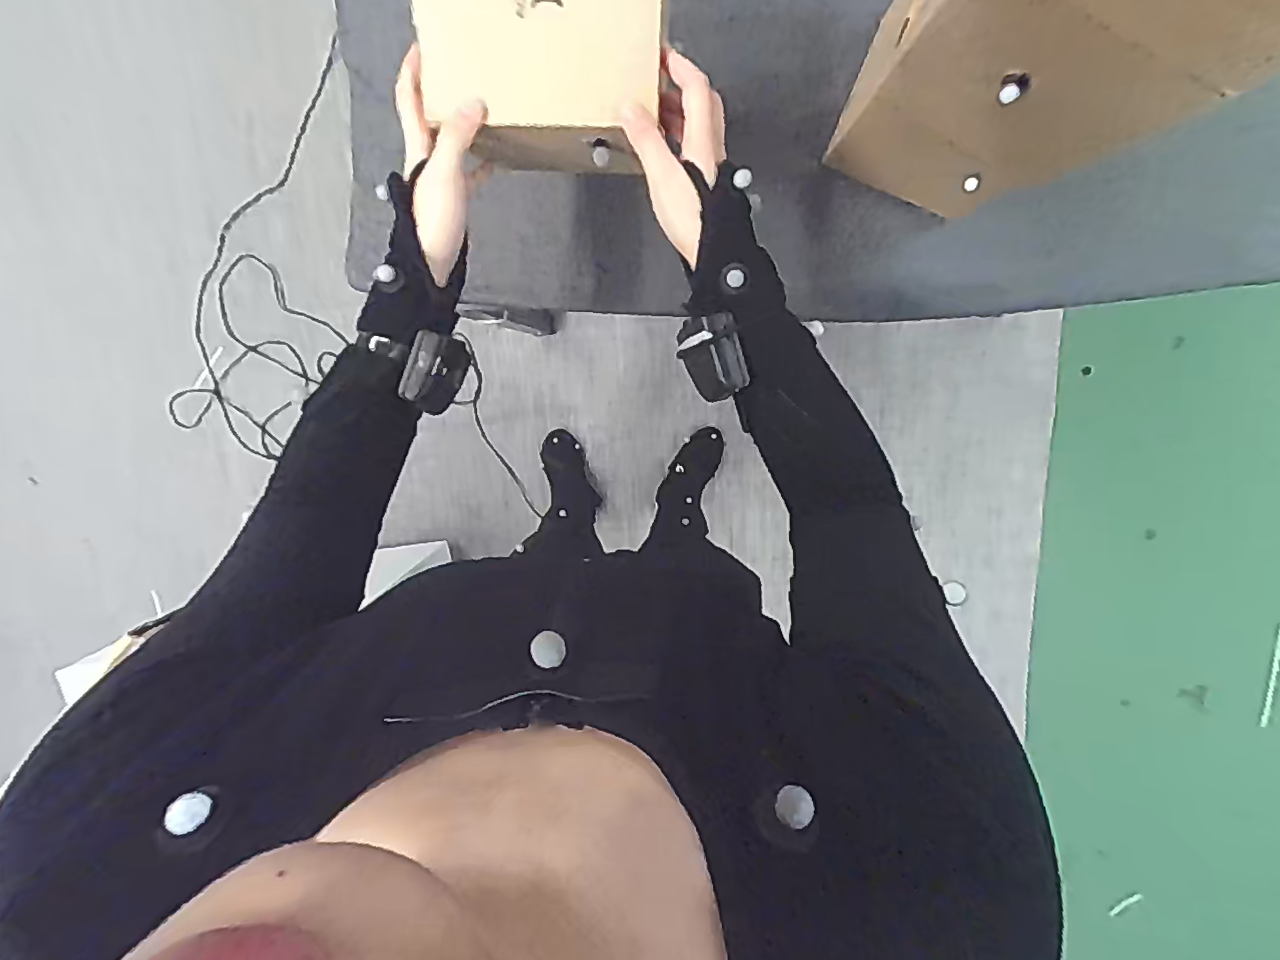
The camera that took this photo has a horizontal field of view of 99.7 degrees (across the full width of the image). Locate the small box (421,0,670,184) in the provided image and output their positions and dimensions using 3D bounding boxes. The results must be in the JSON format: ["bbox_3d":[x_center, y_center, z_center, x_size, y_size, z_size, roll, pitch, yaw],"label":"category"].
[{"bbox_3d":[-0.065,-0.360,0.457,0.179,0.176,0.168,4,108,3],"label":"small box"}]

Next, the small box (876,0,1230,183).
[{"bbox_3d":[0.311,-0.345,0.384,0.179,0.176,0.168,29,100,-3],"label":"small box"}]
